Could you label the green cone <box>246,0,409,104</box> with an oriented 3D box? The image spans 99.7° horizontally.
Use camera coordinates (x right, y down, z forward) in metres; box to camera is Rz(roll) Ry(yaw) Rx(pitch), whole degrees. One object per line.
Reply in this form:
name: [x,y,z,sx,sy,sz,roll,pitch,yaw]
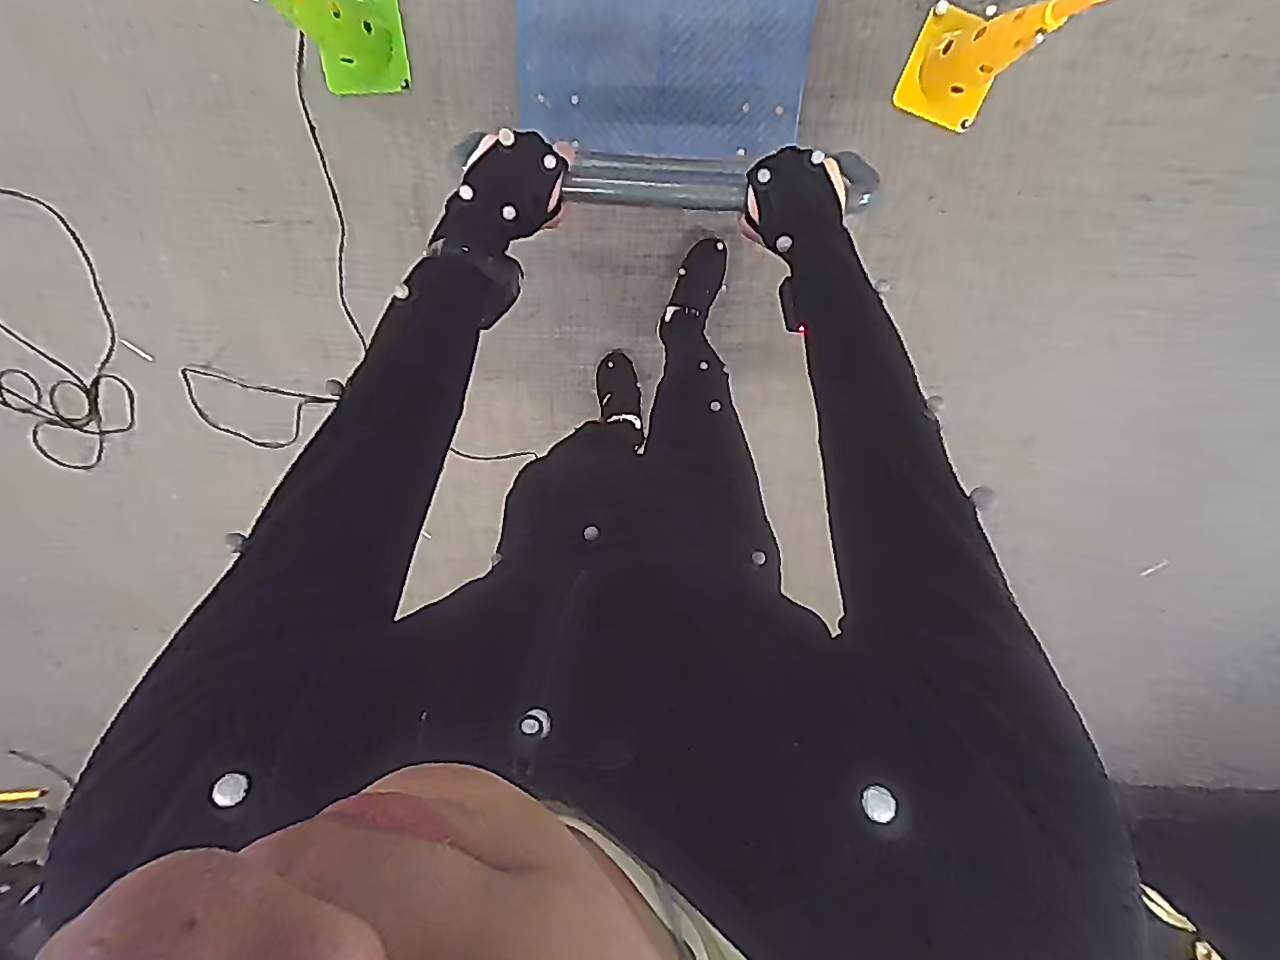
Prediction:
green cone: [-0.642,-0.901,1.058,0.202,0.368,0.200,-1,114,4]
